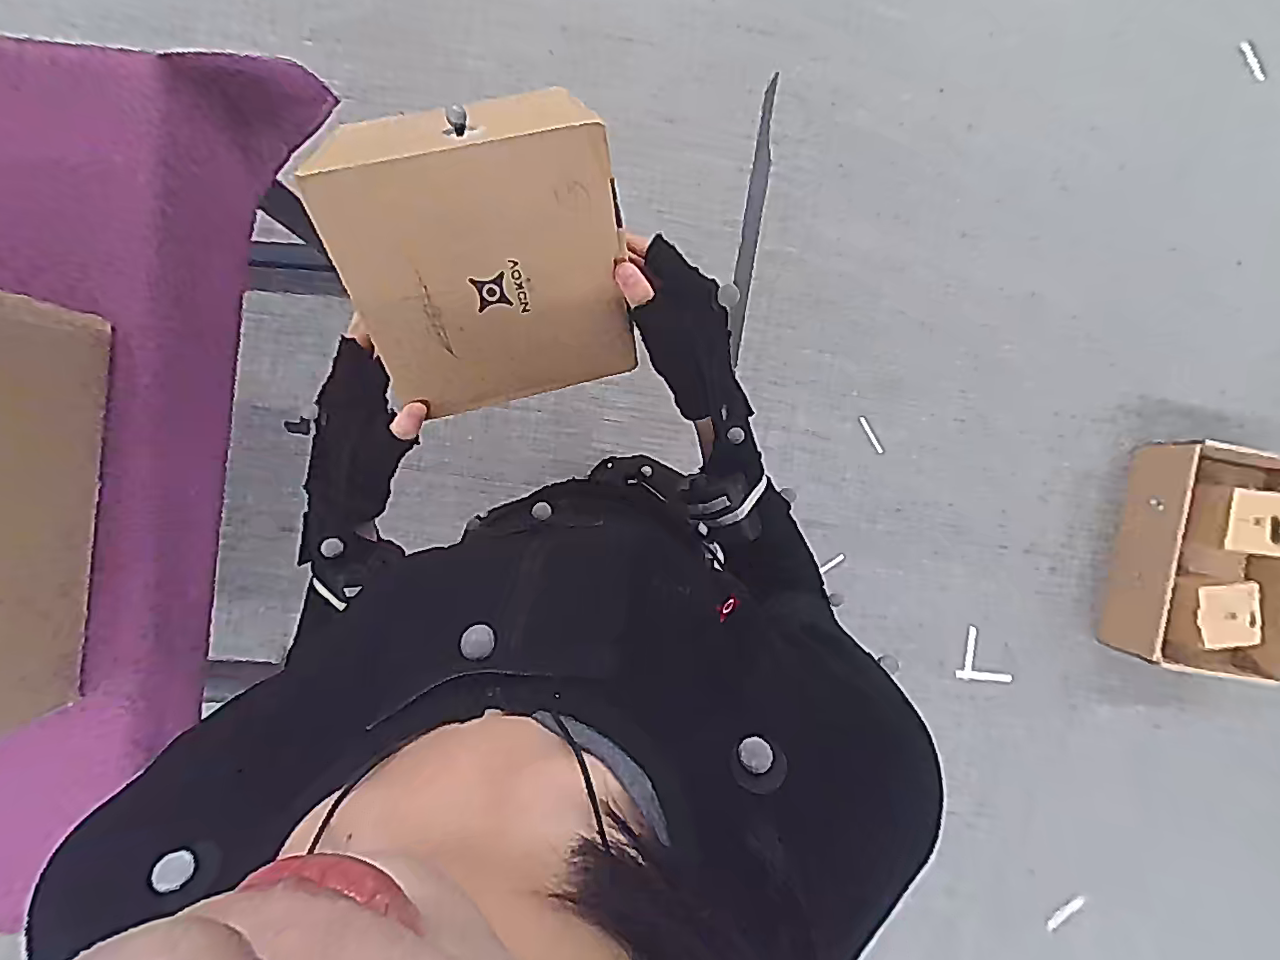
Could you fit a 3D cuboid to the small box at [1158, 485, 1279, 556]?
[{"bbox_3d":[1.613,0.107,1.501,0.179,0.176,0.168,7,92,-4],"label":"small box"}]
